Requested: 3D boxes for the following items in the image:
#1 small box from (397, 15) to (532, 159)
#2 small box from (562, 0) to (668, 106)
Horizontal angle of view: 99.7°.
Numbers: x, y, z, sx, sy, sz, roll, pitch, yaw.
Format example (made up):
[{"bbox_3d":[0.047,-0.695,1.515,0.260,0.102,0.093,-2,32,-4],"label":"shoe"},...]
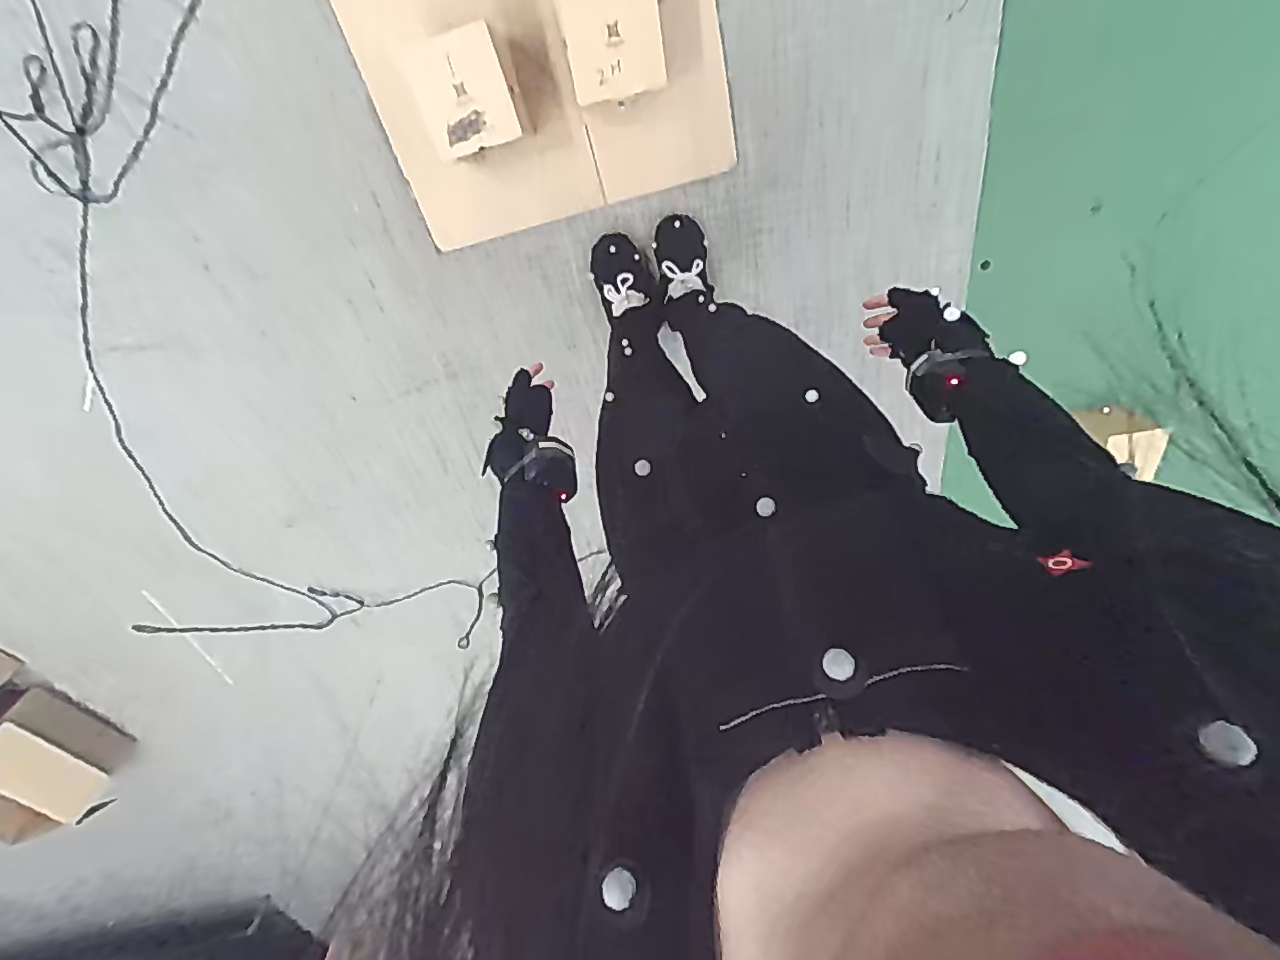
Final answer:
[{"bbox_3d":[-0.313,-0.725,1.013,0.168,0.176,0.179,-15,121,6],"label":"small box"},{"bbox_3d":[-0.046,-0.803,0.984,0.168,0.176,0.179,-9,123,3],"label":"small box"}]
